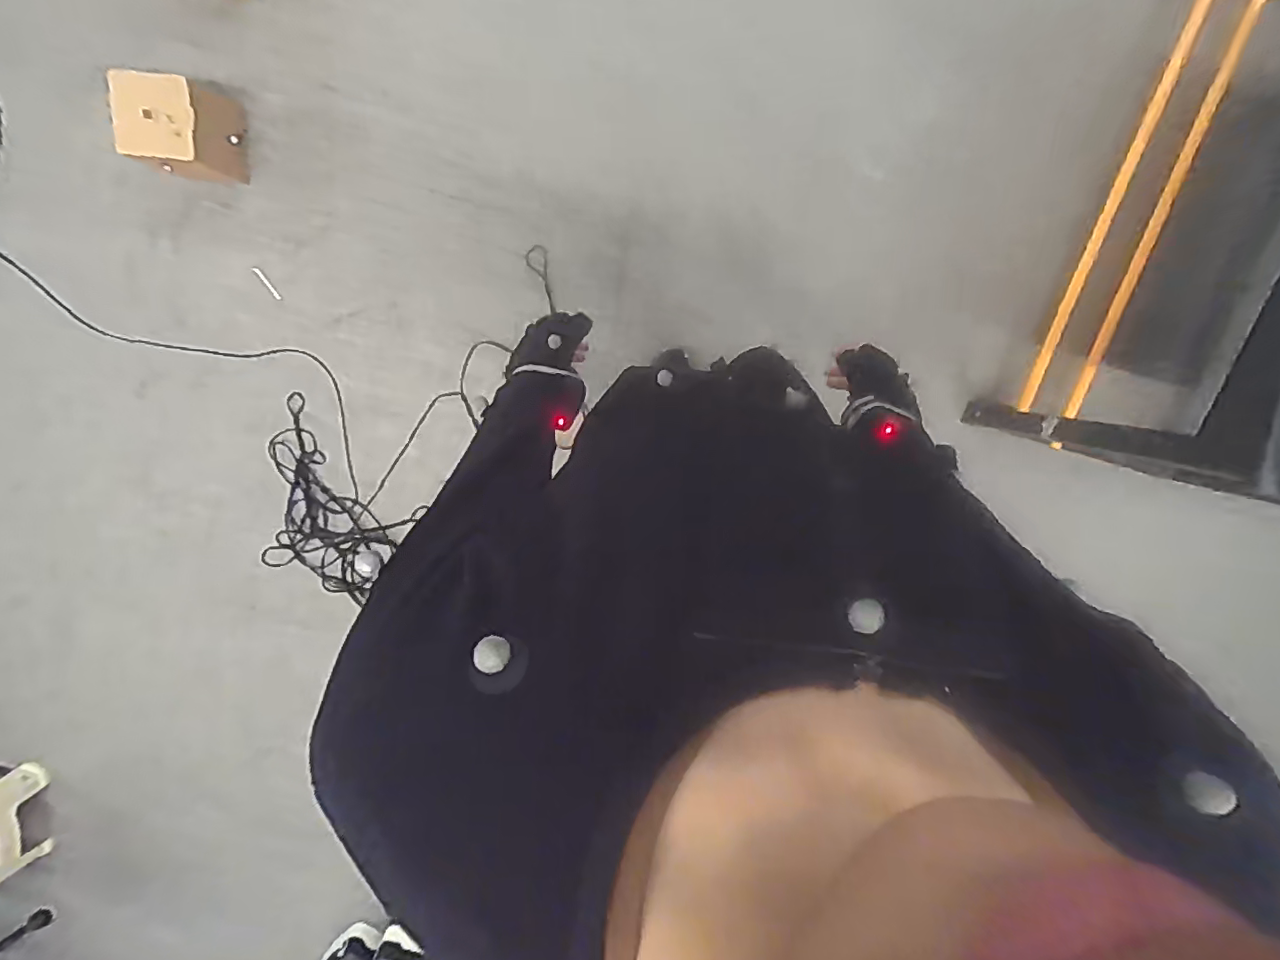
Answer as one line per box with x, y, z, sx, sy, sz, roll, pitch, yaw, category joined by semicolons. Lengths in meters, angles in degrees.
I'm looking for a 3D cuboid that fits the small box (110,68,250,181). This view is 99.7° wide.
-1.043;-0.804;1.239;0.179;0.176;0.168;5;104;0;small box
